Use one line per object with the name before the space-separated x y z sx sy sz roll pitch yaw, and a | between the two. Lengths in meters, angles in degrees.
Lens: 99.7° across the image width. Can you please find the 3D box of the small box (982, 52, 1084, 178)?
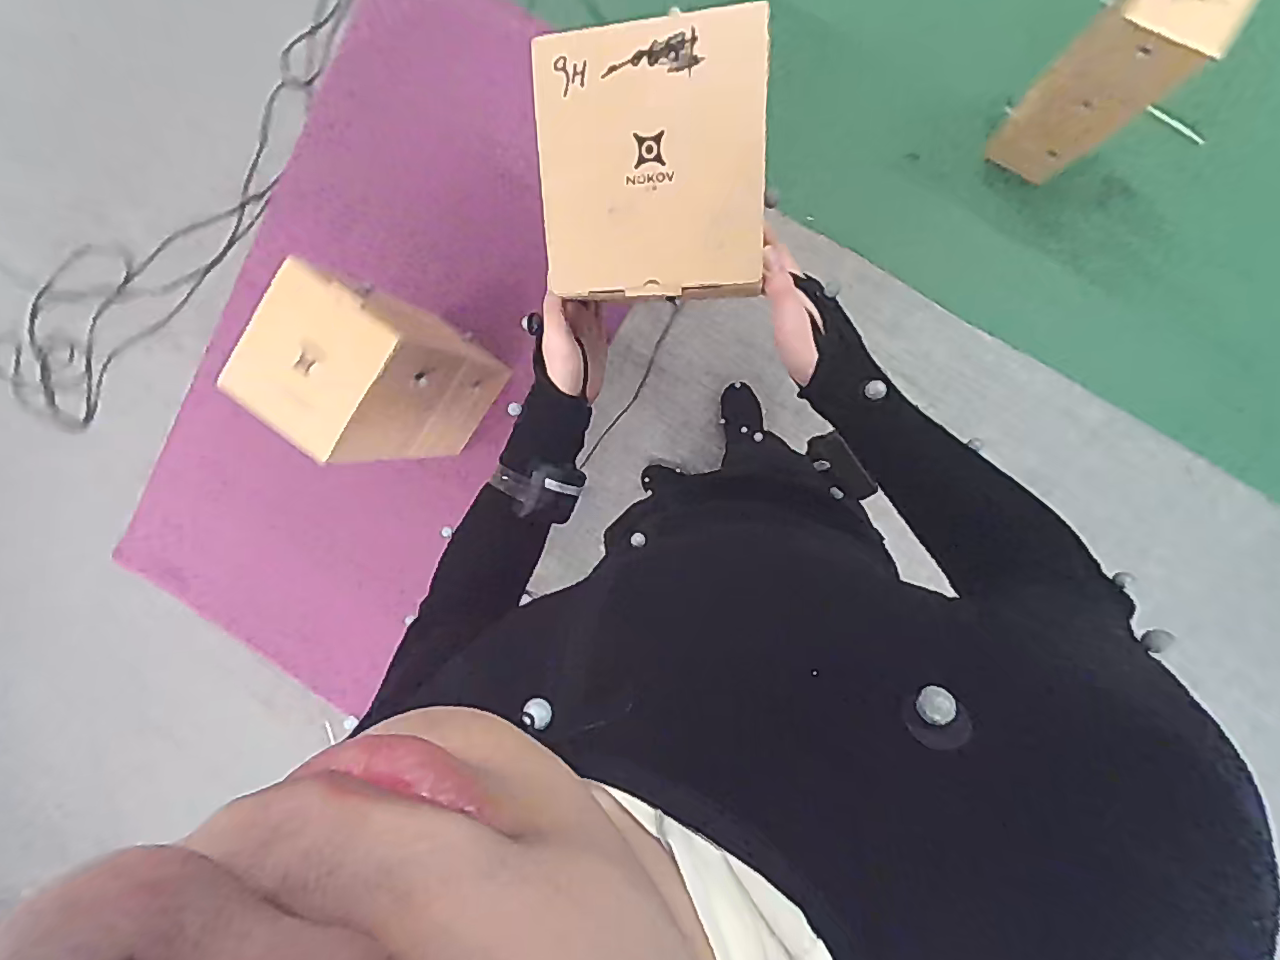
small box | 1.001 -0.883 1.332 0.179 0.176 0.168 32 98 4

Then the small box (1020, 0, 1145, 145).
small box | 0.987 -0.867 1.171 0.179 0.176 0.168 30 99 6

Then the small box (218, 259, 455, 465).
small box | -0.366 -0.139 0.689 0.168 0.176 0.179 36 99 4

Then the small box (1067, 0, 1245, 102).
small box | 0.962 -0.856 1.009 0.179 0.176 0.168 28 99 4

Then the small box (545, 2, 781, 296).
small box | 0.031 -0.251 0.462 0.168 0.176 0.179 2 107 12
